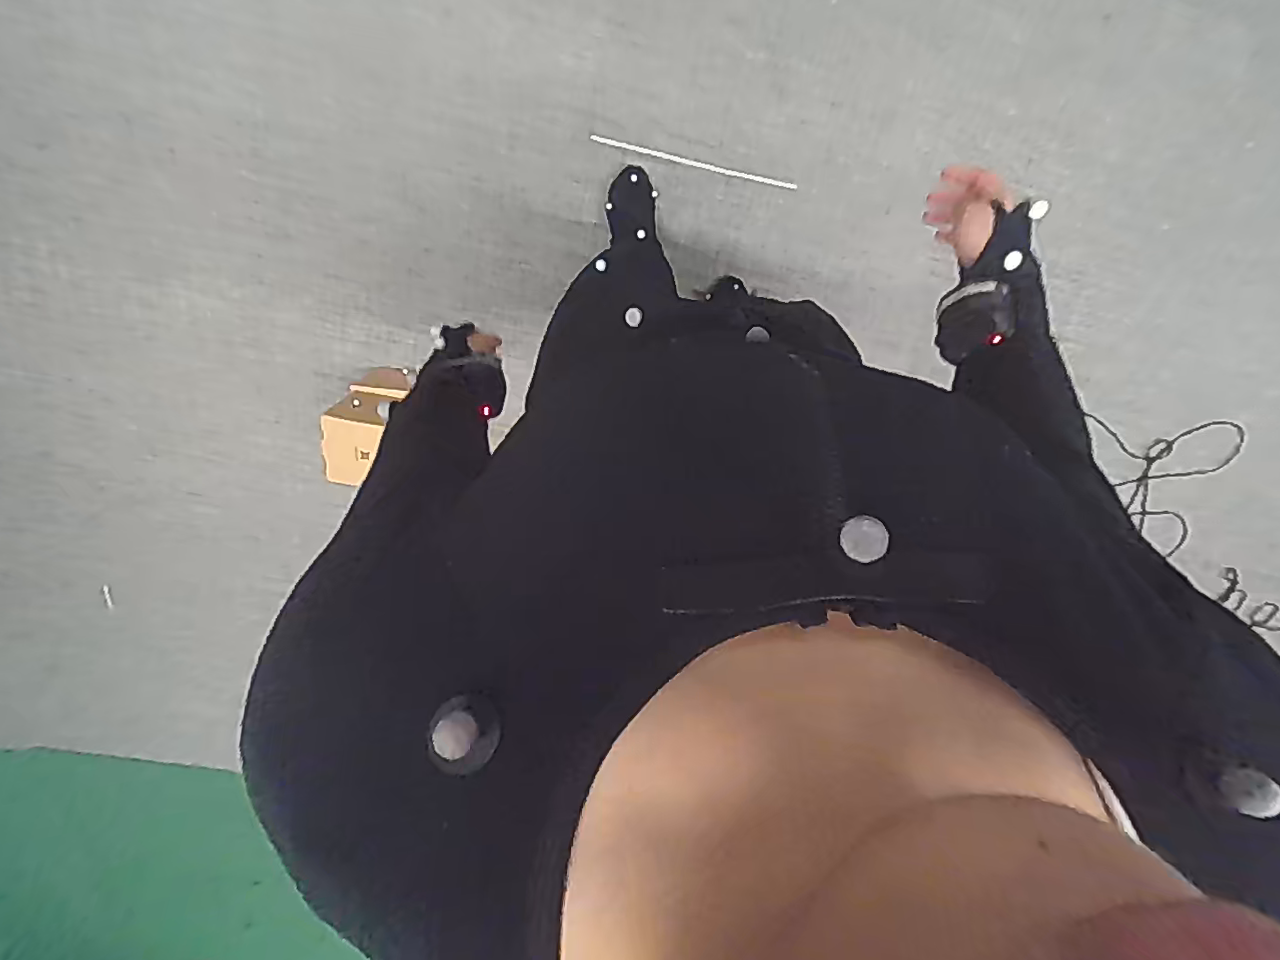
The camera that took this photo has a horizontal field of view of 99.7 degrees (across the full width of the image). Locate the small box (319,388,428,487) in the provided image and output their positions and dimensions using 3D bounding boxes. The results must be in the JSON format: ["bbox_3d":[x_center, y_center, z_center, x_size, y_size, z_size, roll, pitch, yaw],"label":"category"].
[{"bbox_3d":[-0.617,-0.105,1.268,0.179,0.176,0.168,9,118,-5],"label":"small box"}]
